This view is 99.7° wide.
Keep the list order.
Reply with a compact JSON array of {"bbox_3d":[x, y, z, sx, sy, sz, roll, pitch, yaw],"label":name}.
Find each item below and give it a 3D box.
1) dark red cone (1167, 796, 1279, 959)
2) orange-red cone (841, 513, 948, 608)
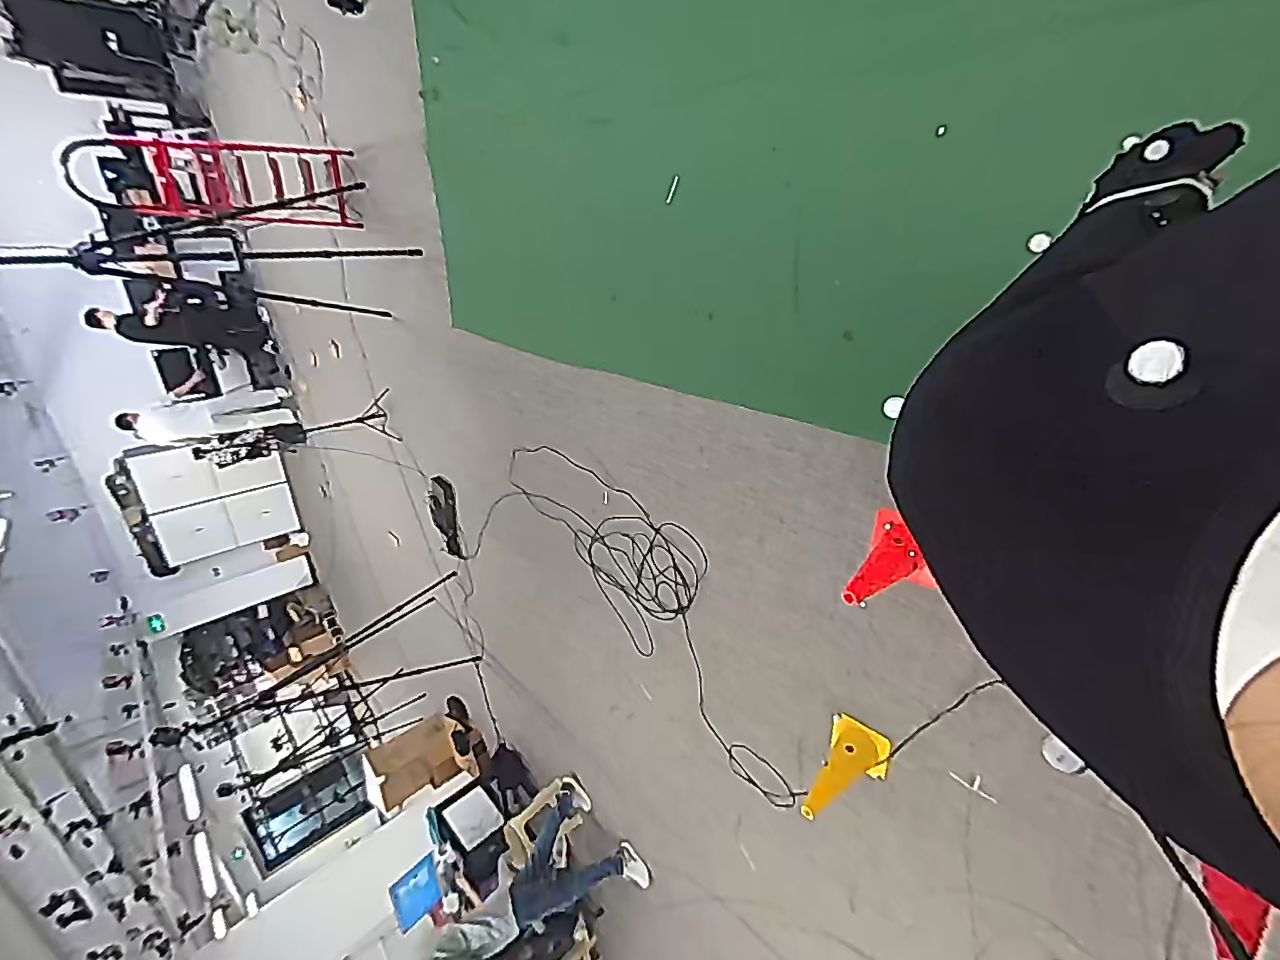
[{"bbox_3d":[1.192,0.858,1.082,0.202,0.394,0.201,17,117,44],"label":"dark red cone"},{"bbox_3d":[0.654,0.259,1.468,0.198,0.360,0.199,25,124,42],"label":"orange-red cone"}]
